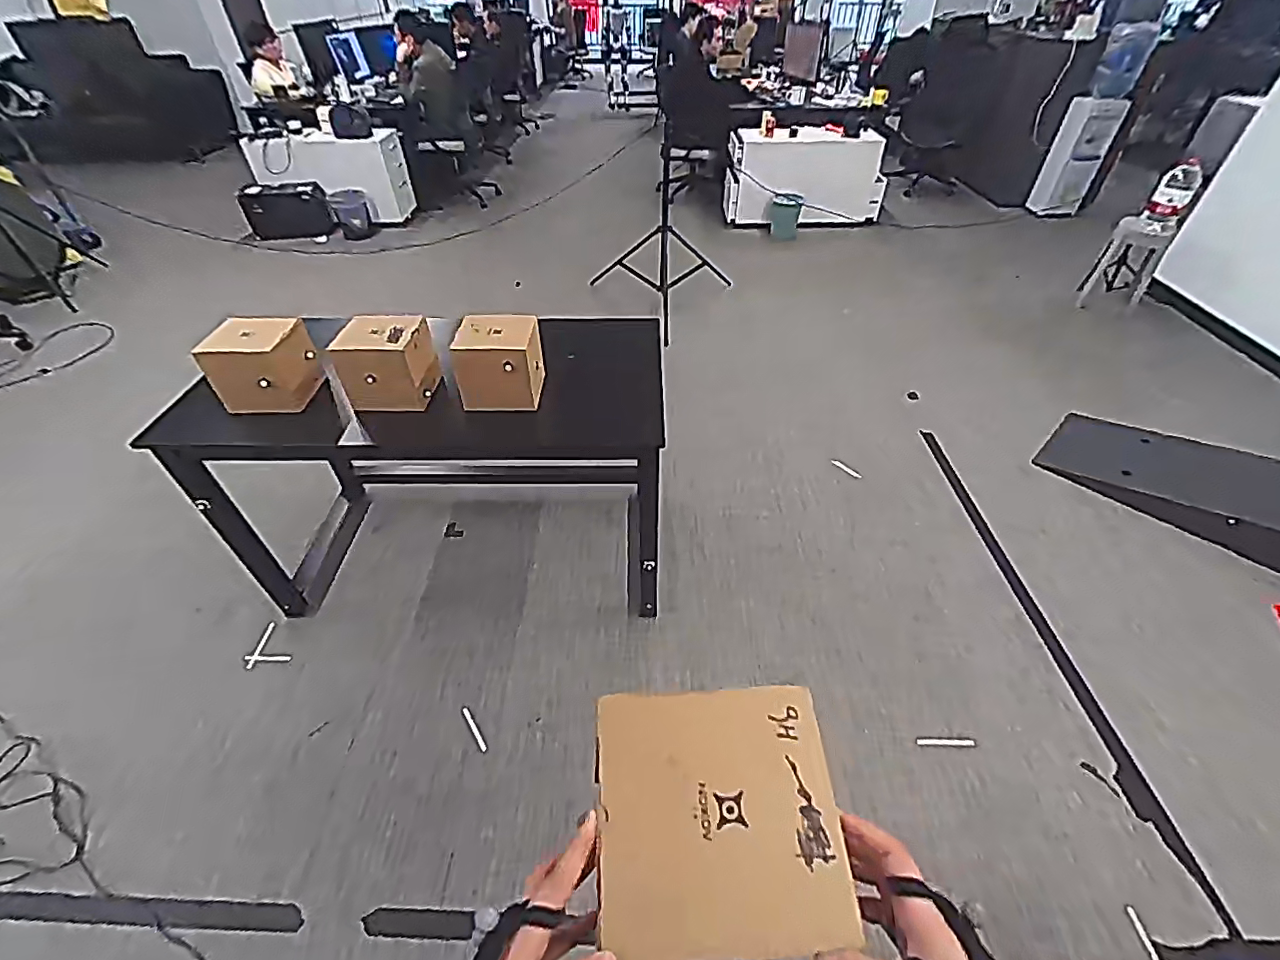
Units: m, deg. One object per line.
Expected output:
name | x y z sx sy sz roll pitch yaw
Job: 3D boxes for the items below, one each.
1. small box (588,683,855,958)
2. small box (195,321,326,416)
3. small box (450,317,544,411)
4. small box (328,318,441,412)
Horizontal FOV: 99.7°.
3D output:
small box | 0.048 0.280 0.456 0.179 0.176 0.168 -1 55 -4
small box | -0.901 -0.269 1.309 0.179 0.176 0.168 -2 42 -1
small box | -0.336 -0.279 1.311 0.179 0.176 0.168 -1 43 1
small box | -0.606 -0.277 1.313 0.179 0.176 0.168 0 43 2
